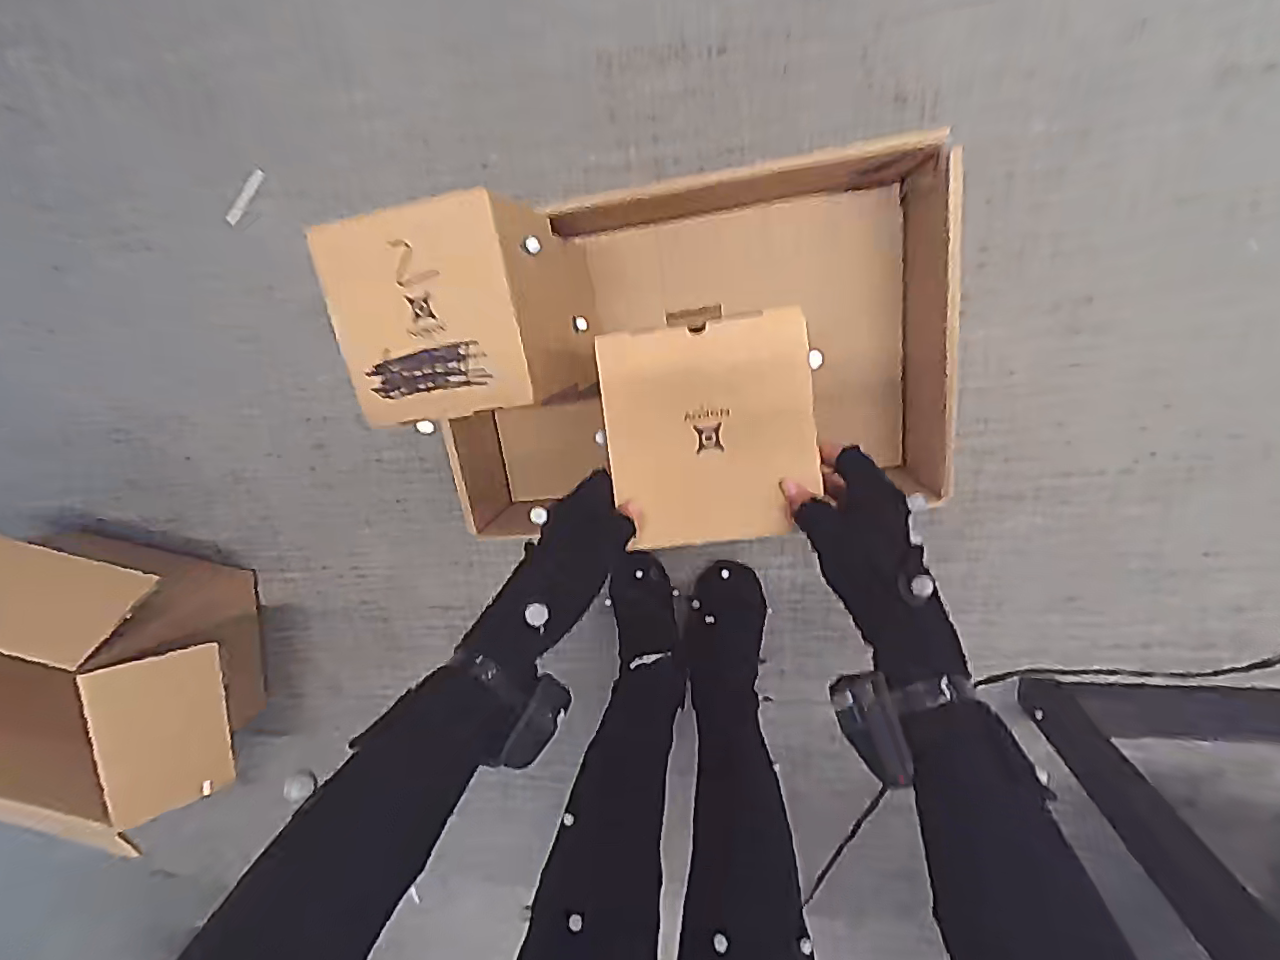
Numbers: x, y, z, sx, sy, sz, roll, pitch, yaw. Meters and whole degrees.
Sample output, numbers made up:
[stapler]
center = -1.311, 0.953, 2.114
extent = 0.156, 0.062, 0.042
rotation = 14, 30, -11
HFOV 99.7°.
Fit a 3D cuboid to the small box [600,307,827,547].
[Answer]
[small box]
center = 0.069, -0.044, 0.504
extent = 0.168, 0.176, 0.179
rotation = -7, 92, 9
